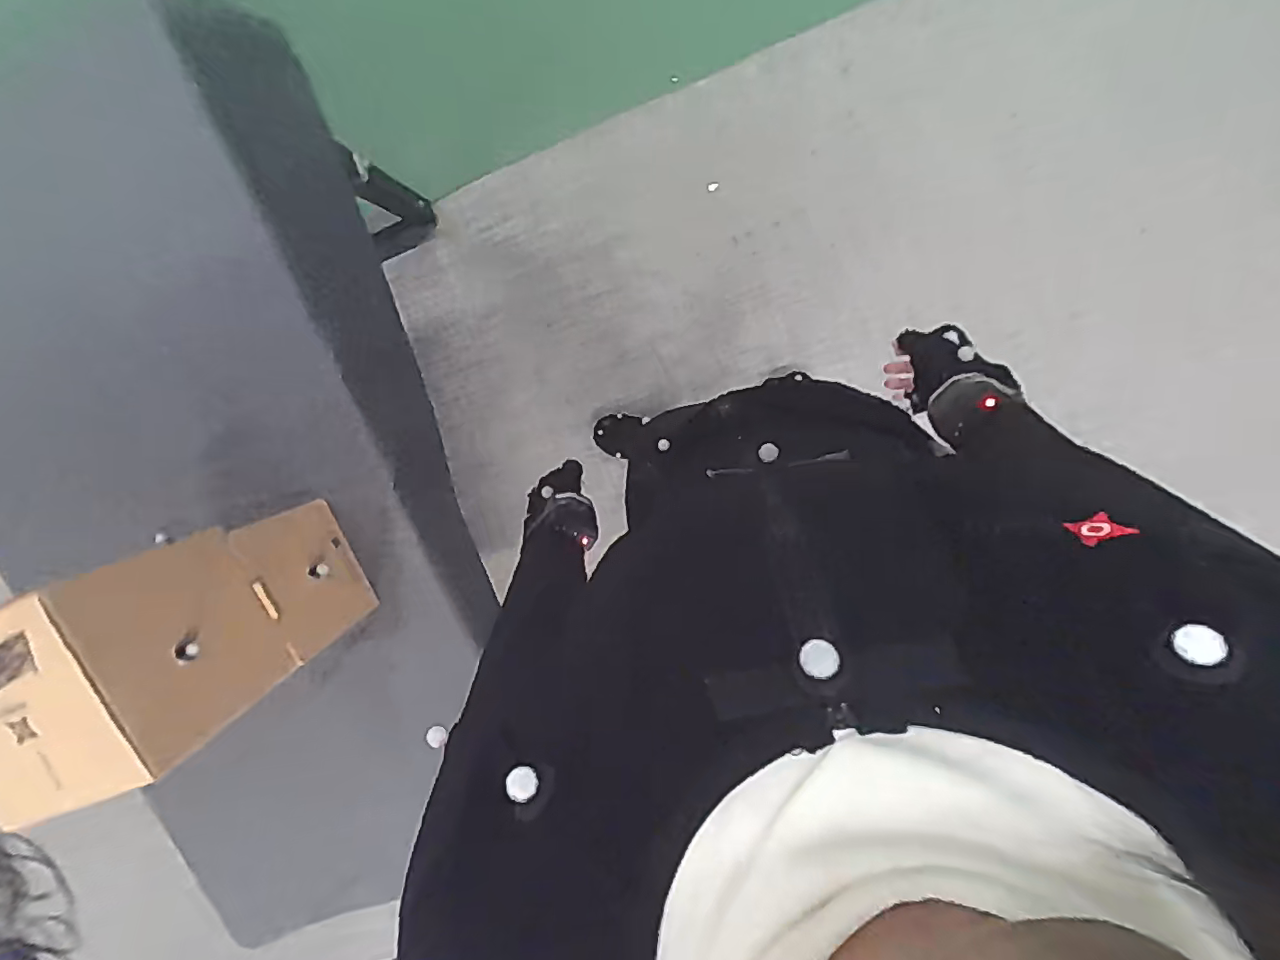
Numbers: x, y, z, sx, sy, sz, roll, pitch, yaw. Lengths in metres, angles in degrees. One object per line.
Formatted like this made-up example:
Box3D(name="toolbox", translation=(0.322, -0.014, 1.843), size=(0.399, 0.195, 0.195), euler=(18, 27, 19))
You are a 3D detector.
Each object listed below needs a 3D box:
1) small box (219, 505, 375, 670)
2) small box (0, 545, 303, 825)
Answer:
Box3D(name="small box", translation=(-0.471, 0.149, 0.685), size=(0.179, 0.176, 0.168), euler=(-22, 100, 8))
Box3D(name="small box", translation=(-0.482, 0.178, 0.523), size=(0.168, 0.176, 0.179), euler=(-21, 101, 9))
